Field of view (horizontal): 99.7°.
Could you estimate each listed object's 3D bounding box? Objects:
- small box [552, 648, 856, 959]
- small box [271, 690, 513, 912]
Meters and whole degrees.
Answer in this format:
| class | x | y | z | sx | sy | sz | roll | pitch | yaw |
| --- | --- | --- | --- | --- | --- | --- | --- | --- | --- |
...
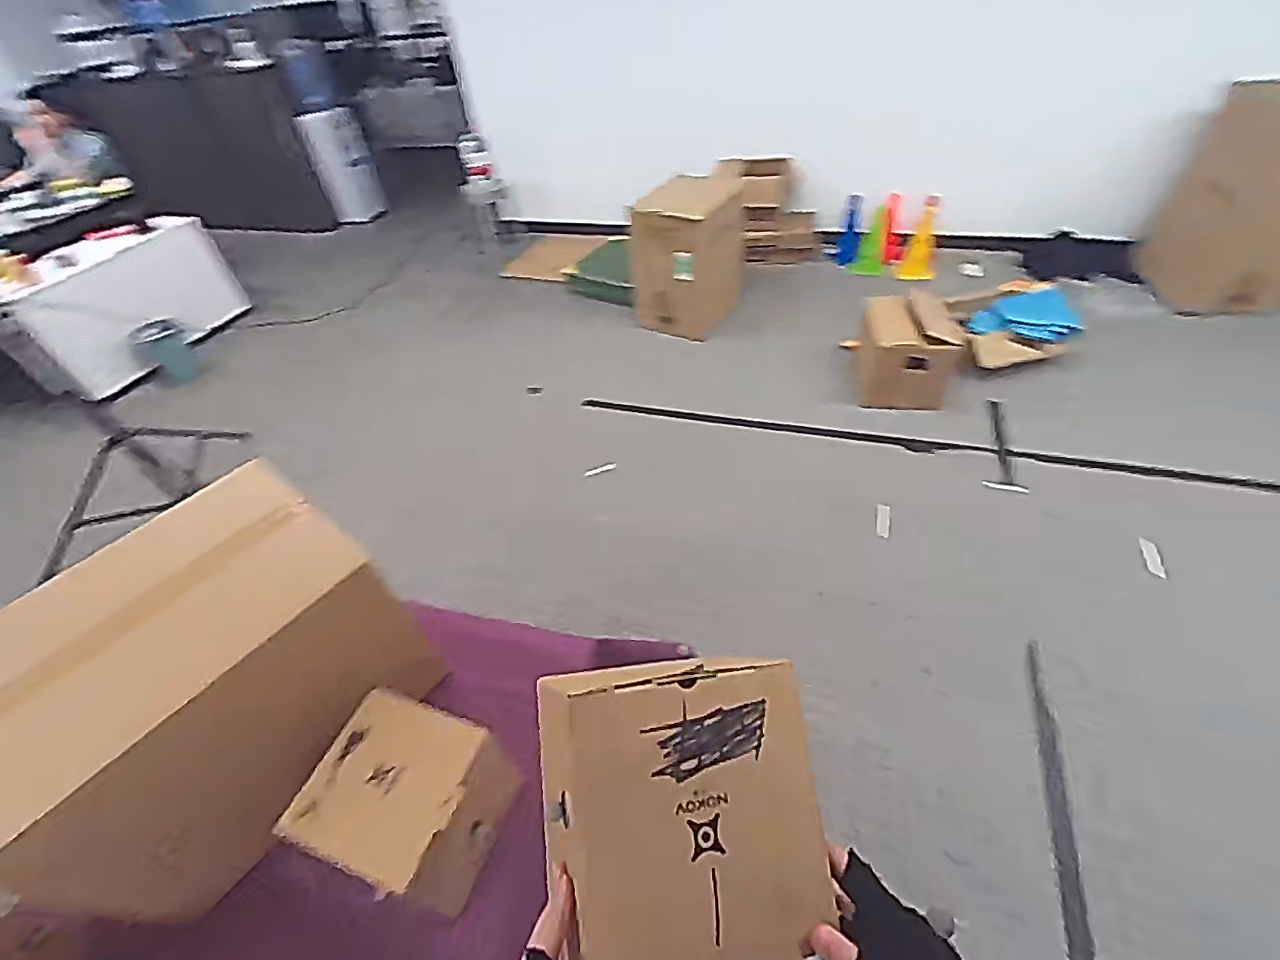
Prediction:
| class | x | y | z | sx | sy | sz | roll | pitch | yaw |
| --- | --- | --- | --- | --- | --- | --- | --- | --- | --- |
| small box | 0.027 | 0.228 | 0.411 | 0.168 | 0.176 | 0.179 | -1 | 73 | -16 |
| small box | -0.278 | 0.389 | 0.655 | 0.179 | 0.176 | 0.168 | 11 | 48 | 18 |
